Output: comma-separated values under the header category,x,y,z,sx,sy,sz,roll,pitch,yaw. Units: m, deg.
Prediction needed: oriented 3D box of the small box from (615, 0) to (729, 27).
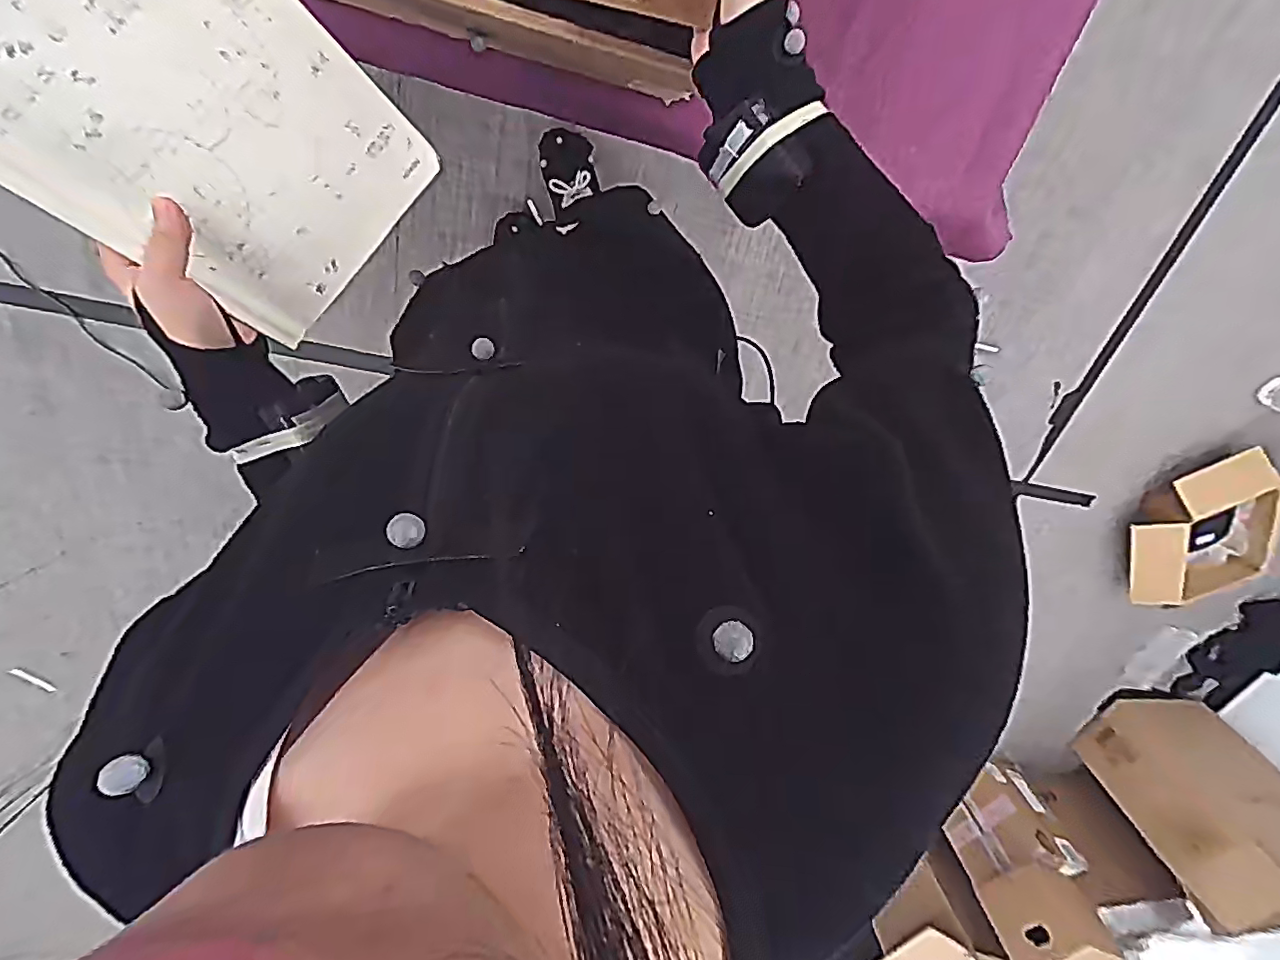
category,x,y,z,sx,sy,sz,roll,pitch,yaw
small box,-0.004,-0.399,0.285,0.168,0.176,0.179,12,92,-3
